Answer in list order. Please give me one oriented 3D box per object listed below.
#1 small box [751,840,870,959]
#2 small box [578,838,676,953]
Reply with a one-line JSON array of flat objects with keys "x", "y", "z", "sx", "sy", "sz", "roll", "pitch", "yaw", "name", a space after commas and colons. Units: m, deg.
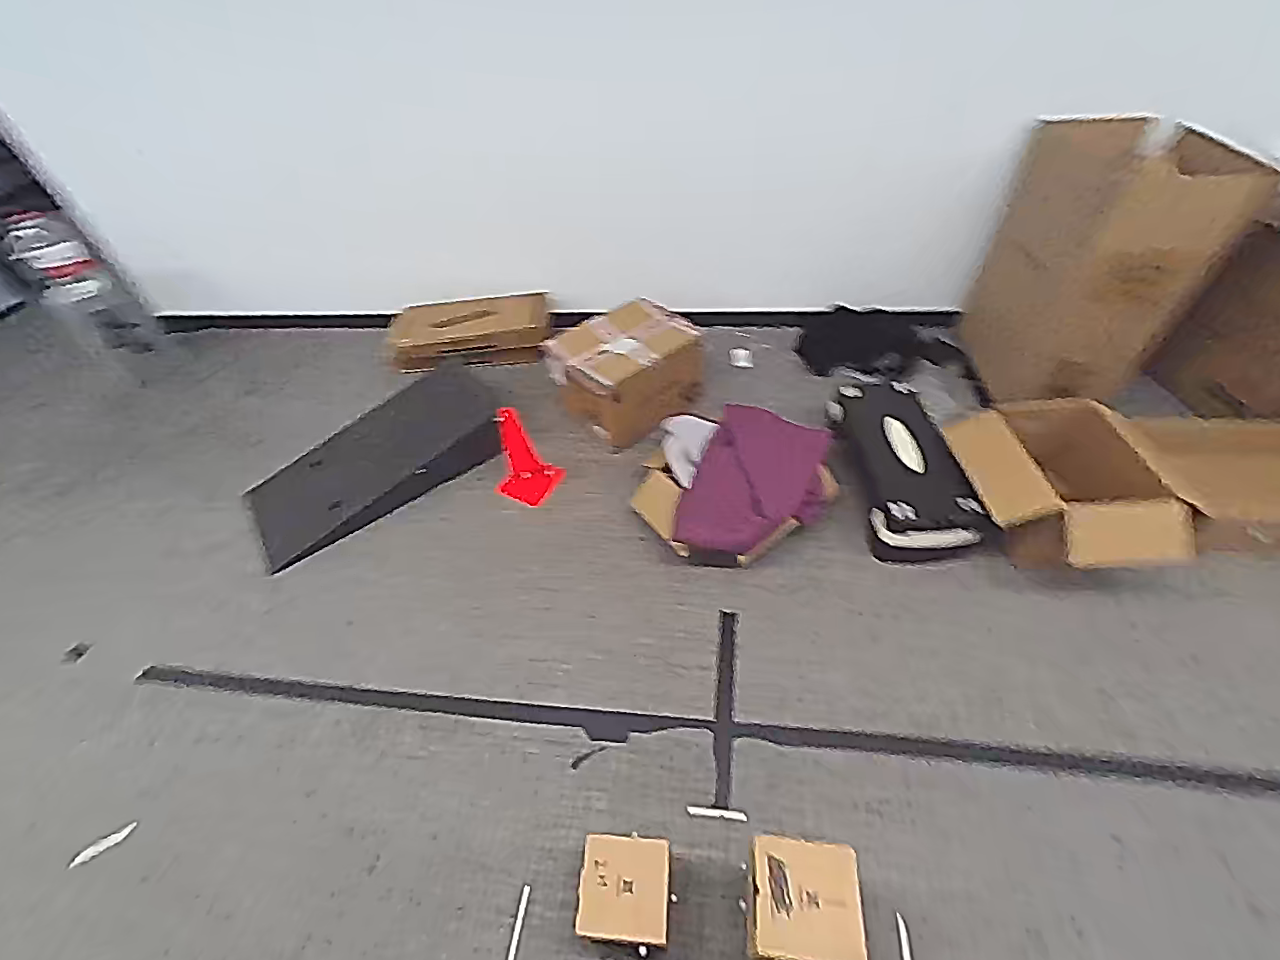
[{"x": 0.290, "y": 0.761, "z": 0.957, "sx": 0.179, "sy": 0.176, "sz": 0.168, "roll": 3, "pitch": 48, "yaw": 8, "name": "small box"}, {"x": -0.018, "y": 0.862, "z": 1.120, "sx": 0.179, "sy": 0.176, "sz": 0.168, "roll": 1, "pitch": 47, "yaw": 7, "name": "small box"}]
